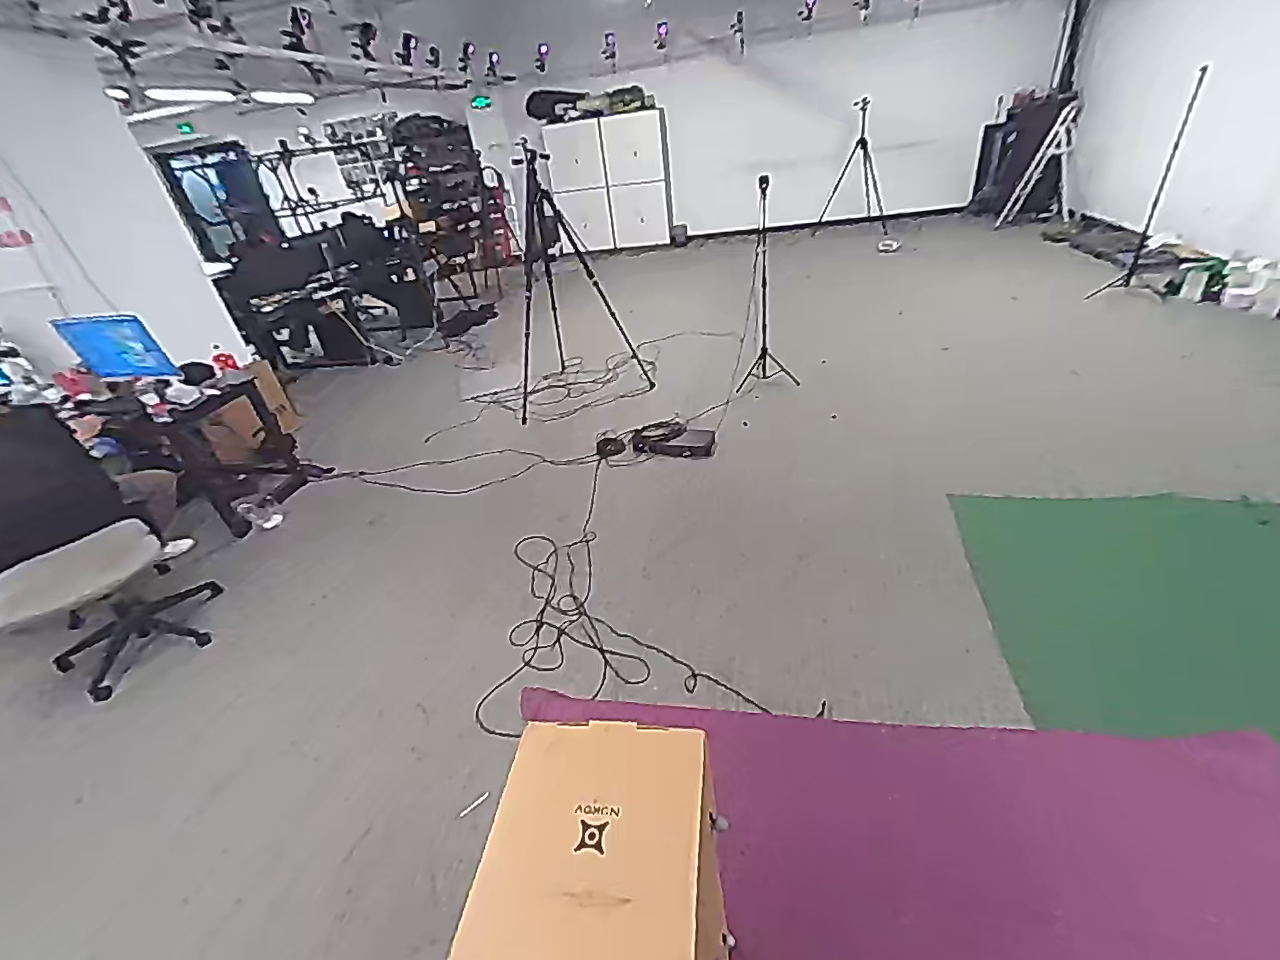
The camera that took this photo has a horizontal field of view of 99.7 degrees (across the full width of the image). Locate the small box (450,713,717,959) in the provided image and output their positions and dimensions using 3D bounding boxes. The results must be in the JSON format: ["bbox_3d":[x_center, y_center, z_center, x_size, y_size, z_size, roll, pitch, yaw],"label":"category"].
[{"bbox_3d":[-0.025,0.327,0.454,0.168,0.176,0.179,-3,35,12],"label":"small box"}]
